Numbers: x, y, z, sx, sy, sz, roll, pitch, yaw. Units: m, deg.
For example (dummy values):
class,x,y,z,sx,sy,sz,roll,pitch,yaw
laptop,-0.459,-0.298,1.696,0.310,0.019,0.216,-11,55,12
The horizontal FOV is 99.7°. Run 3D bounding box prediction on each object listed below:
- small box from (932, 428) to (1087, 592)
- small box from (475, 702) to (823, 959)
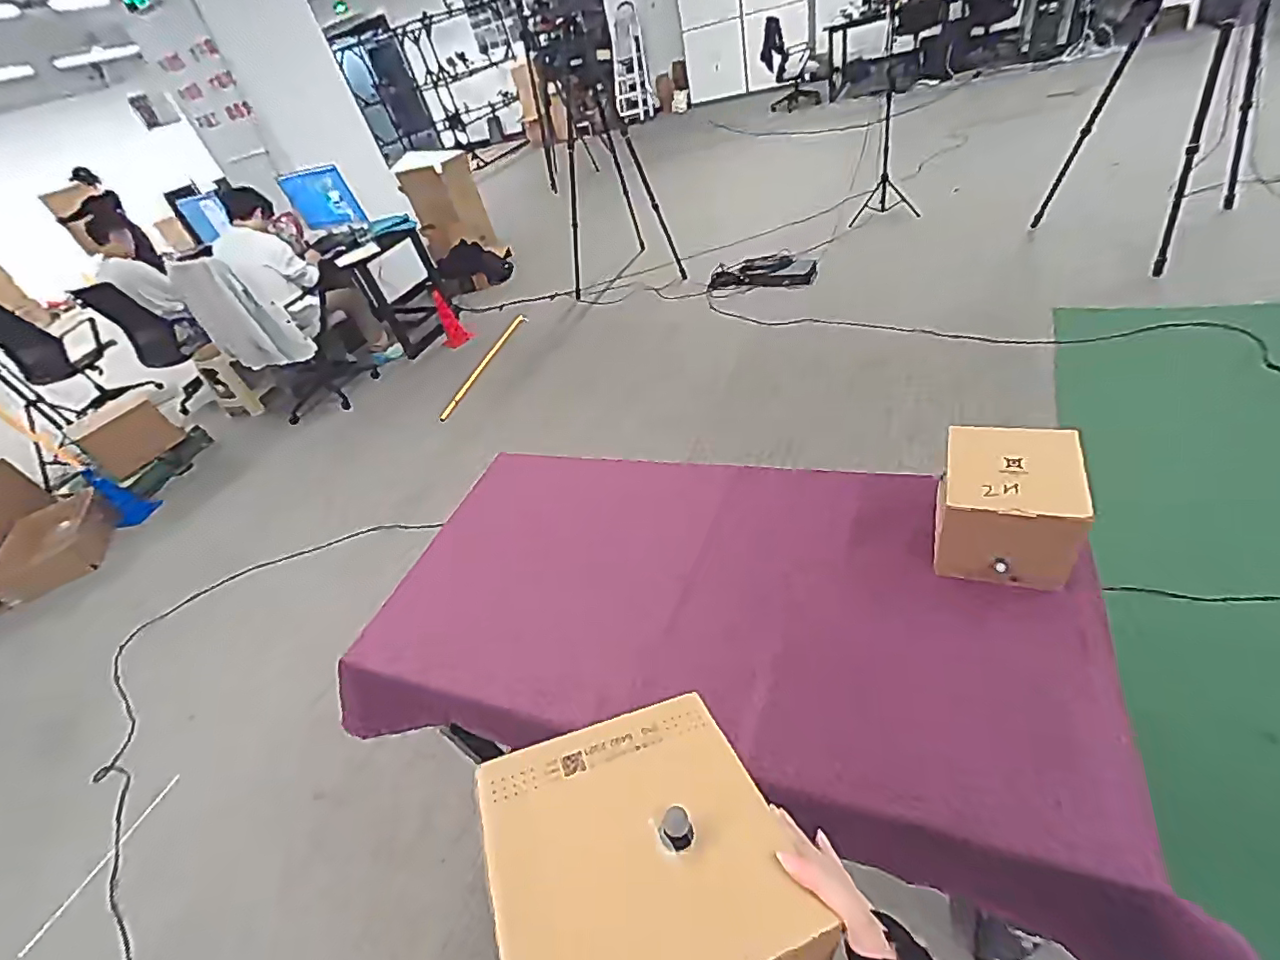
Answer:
class,x,y,z,sx,sy,sz,roll,pitch,yaw
small box,0.547,0.042,0.823,0.168,0.176,0.179,5,49,27
small box,-0.008,0.277,0.360,0.168,0.179,0.176,-10,28,-19
